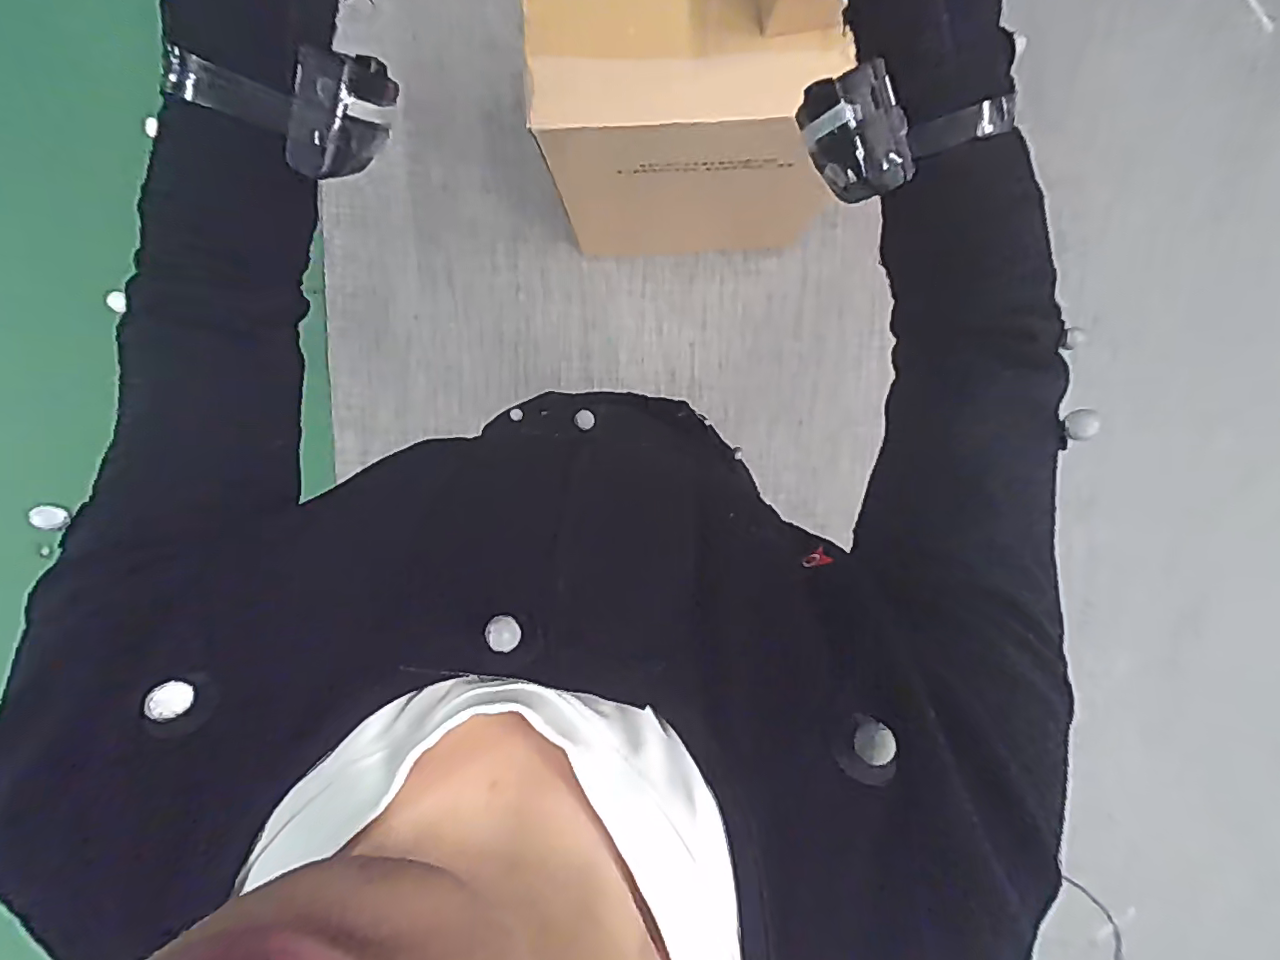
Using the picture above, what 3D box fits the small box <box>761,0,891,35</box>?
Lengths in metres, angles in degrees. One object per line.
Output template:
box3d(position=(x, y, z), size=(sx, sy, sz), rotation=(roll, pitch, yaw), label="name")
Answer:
box3d(position=(0.243, -0.685, 0.644), size=(0.179, 0.176, 0.168), rotation=(-9, 99, 4), label="small box")
